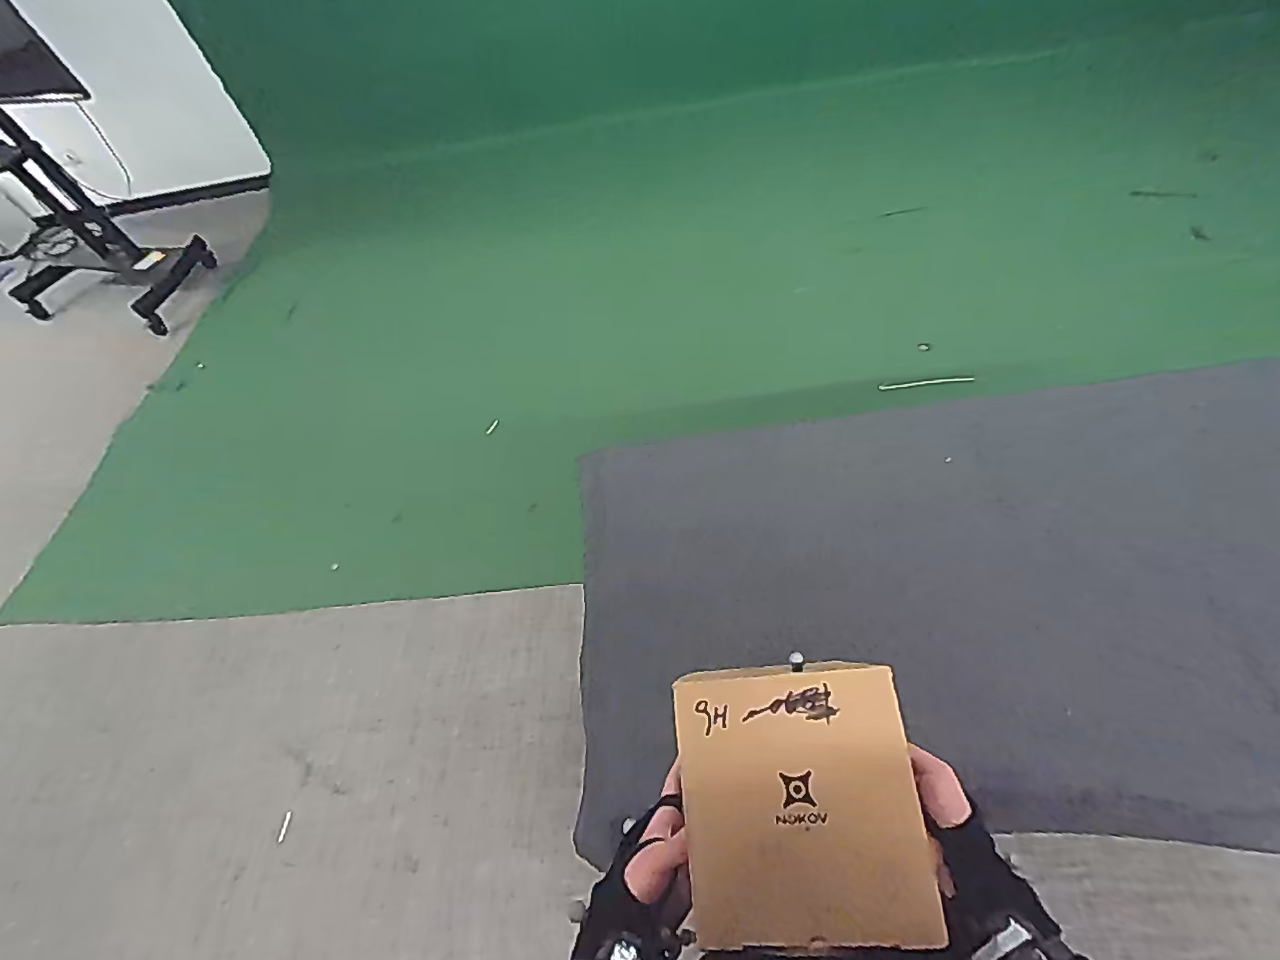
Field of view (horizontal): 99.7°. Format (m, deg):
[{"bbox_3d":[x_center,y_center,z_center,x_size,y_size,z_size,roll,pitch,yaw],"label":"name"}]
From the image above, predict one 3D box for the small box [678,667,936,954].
[{"bbox_3d":[0.127,0.264,0.472,0.168,0.176,0.179,-6,73,6],"label":"small box"}]
